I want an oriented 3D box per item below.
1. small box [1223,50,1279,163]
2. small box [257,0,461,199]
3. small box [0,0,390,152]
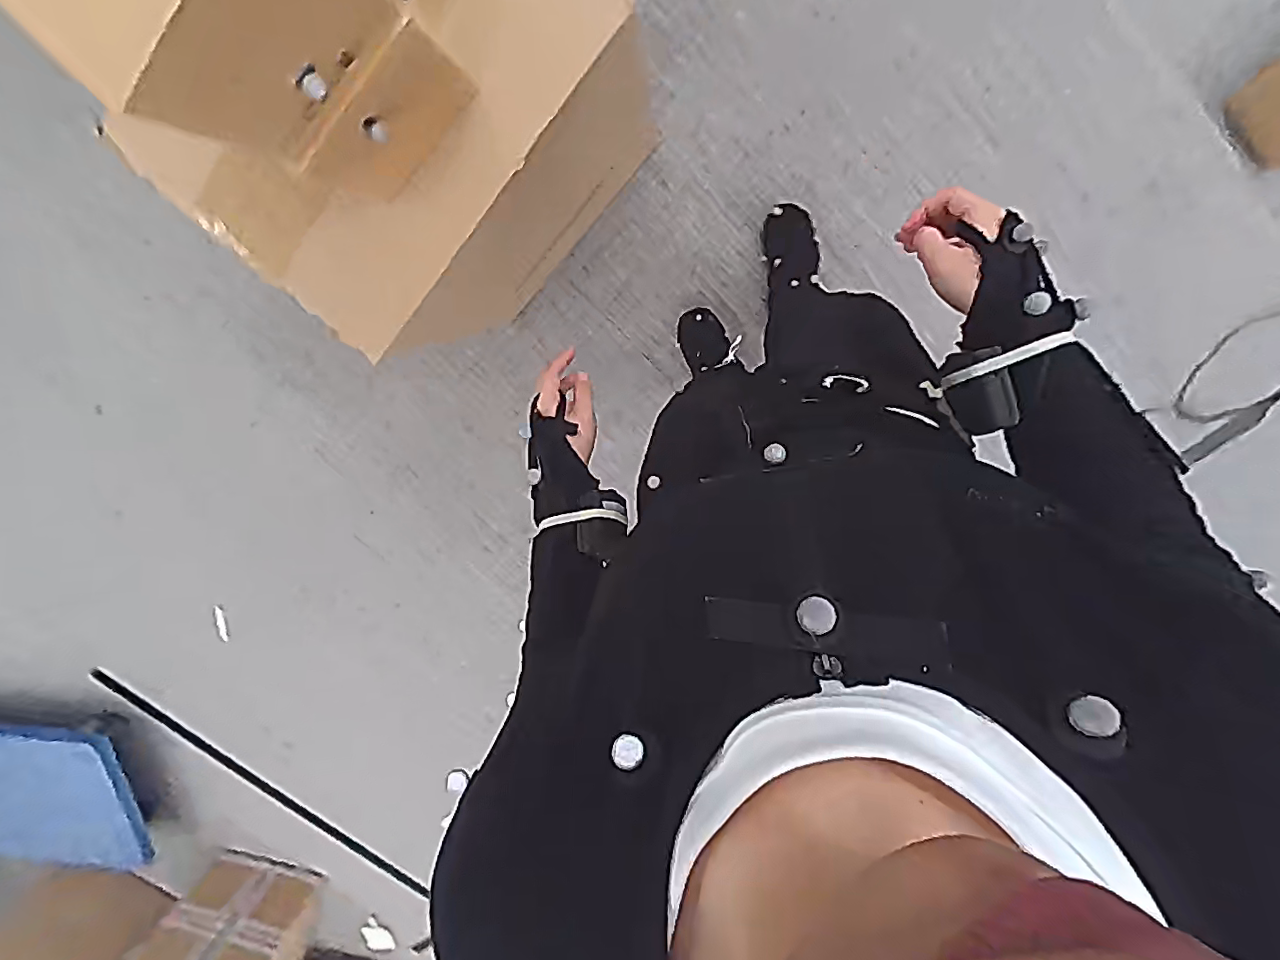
[{"bbox_3d":[1.229,-0.706,0.966,0.179,0.176,0.168,44,108,-11],"label":"small box"},{"bbox_3d":[-0.302,-0.410,0.528,0.179,0.176,0.168,-41,103,18],"label":"small box"},{"bbox_3d":[-0.319,-0.365,0.370,0.168,0.176,0.179,-40,104,18],"label":"small box"}]
